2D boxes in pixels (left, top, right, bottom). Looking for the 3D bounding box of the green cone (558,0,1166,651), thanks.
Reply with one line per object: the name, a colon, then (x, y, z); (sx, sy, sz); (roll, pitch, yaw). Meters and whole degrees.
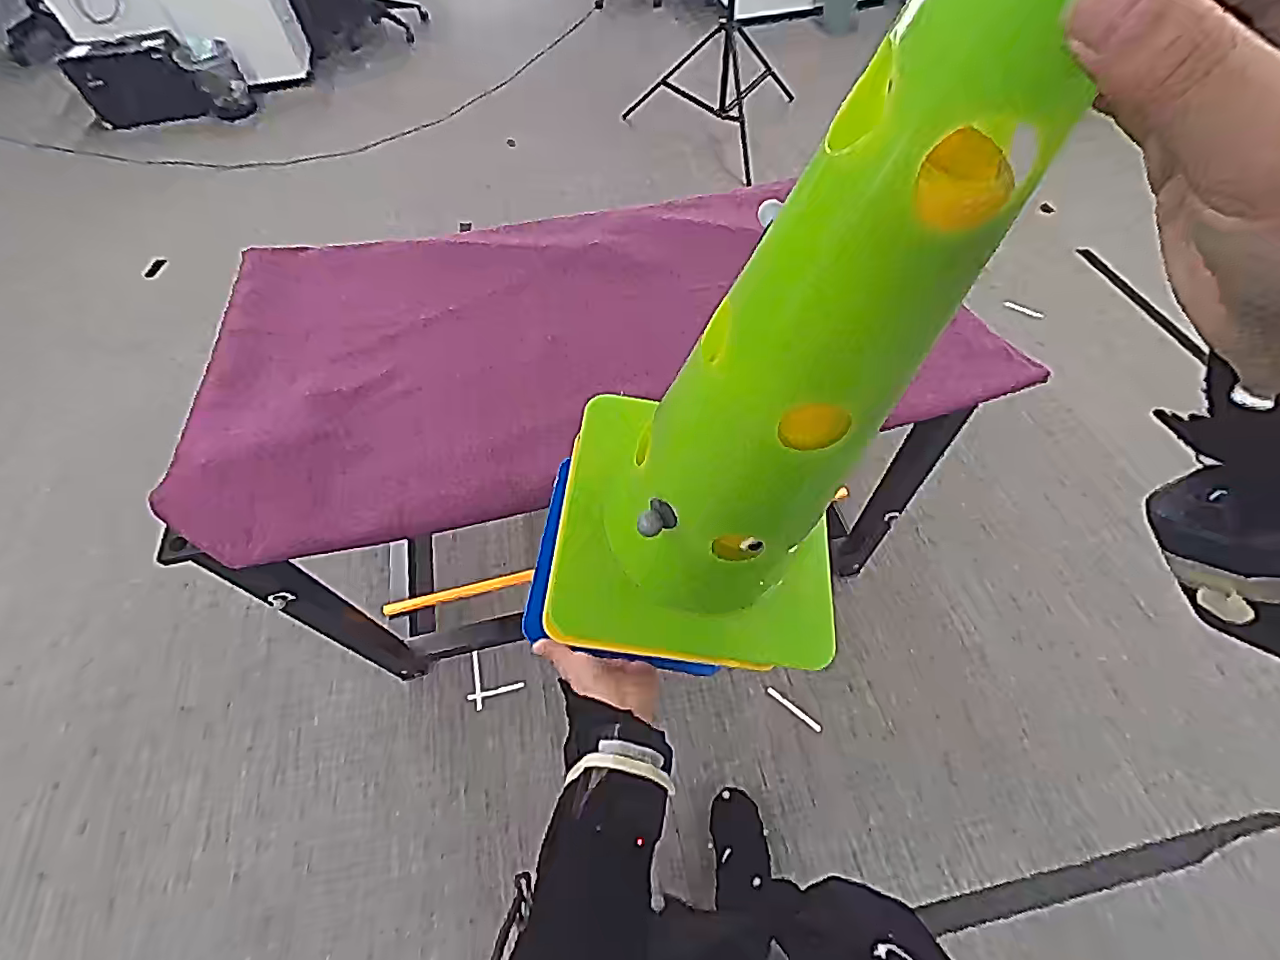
green cone: (0.076, -0.064, 0.250); (0.200, 0.368, 0.202); (8, 61, -5)
